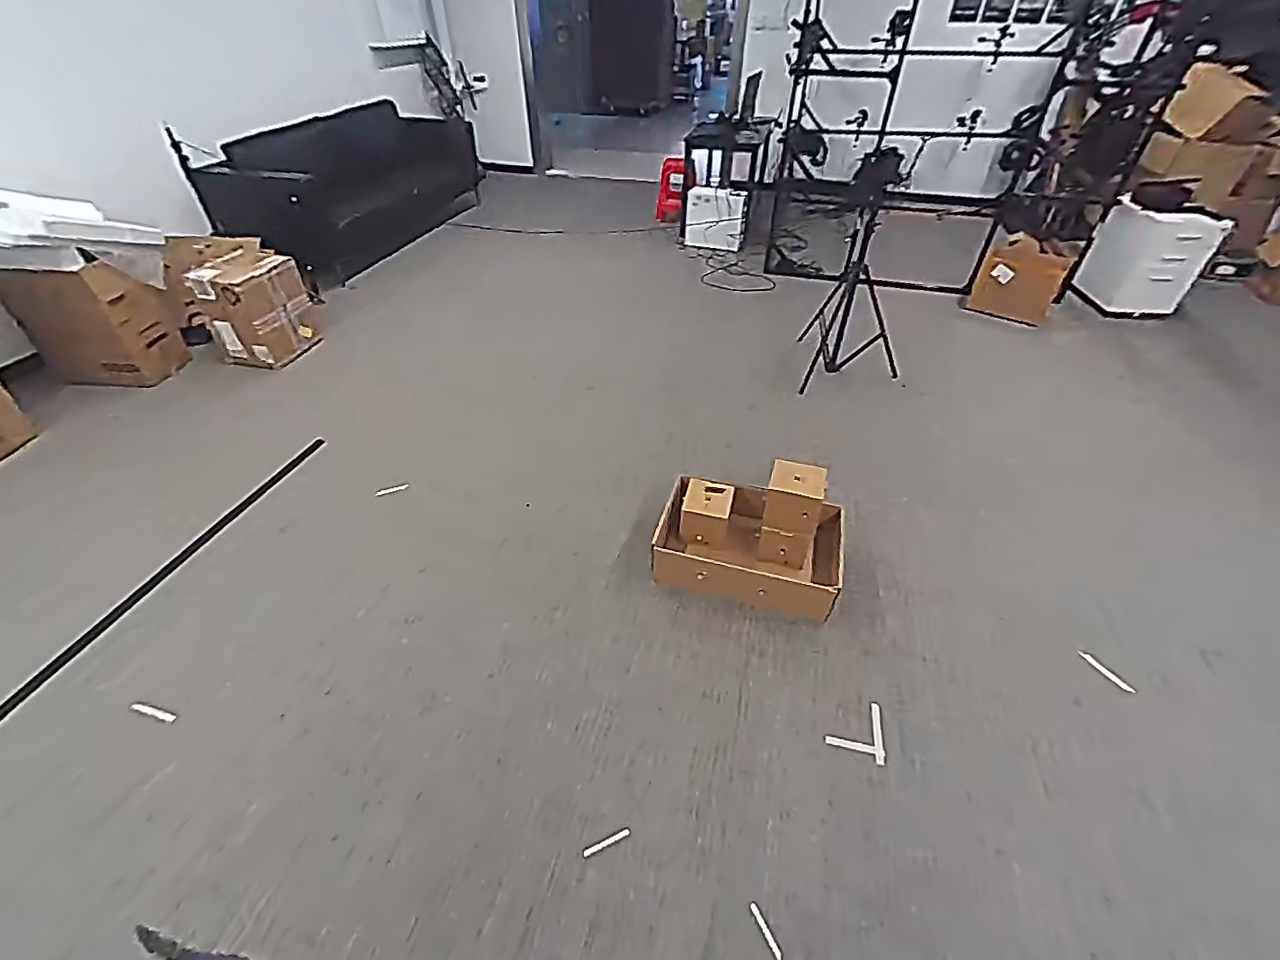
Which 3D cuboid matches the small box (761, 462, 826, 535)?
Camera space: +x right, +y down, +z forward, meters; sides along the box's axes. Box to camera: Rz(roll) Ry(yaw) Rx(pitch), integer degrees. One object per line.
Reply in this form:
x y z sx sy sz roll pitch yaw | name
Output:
0.514 0.065 1.817 0.179 0.176 0.168 11 41 15 | small box

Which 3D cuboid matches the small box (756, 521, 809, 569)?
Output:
0.512 0.191 1.923 0.168 0.176 0.179 10 44 16 | small box
